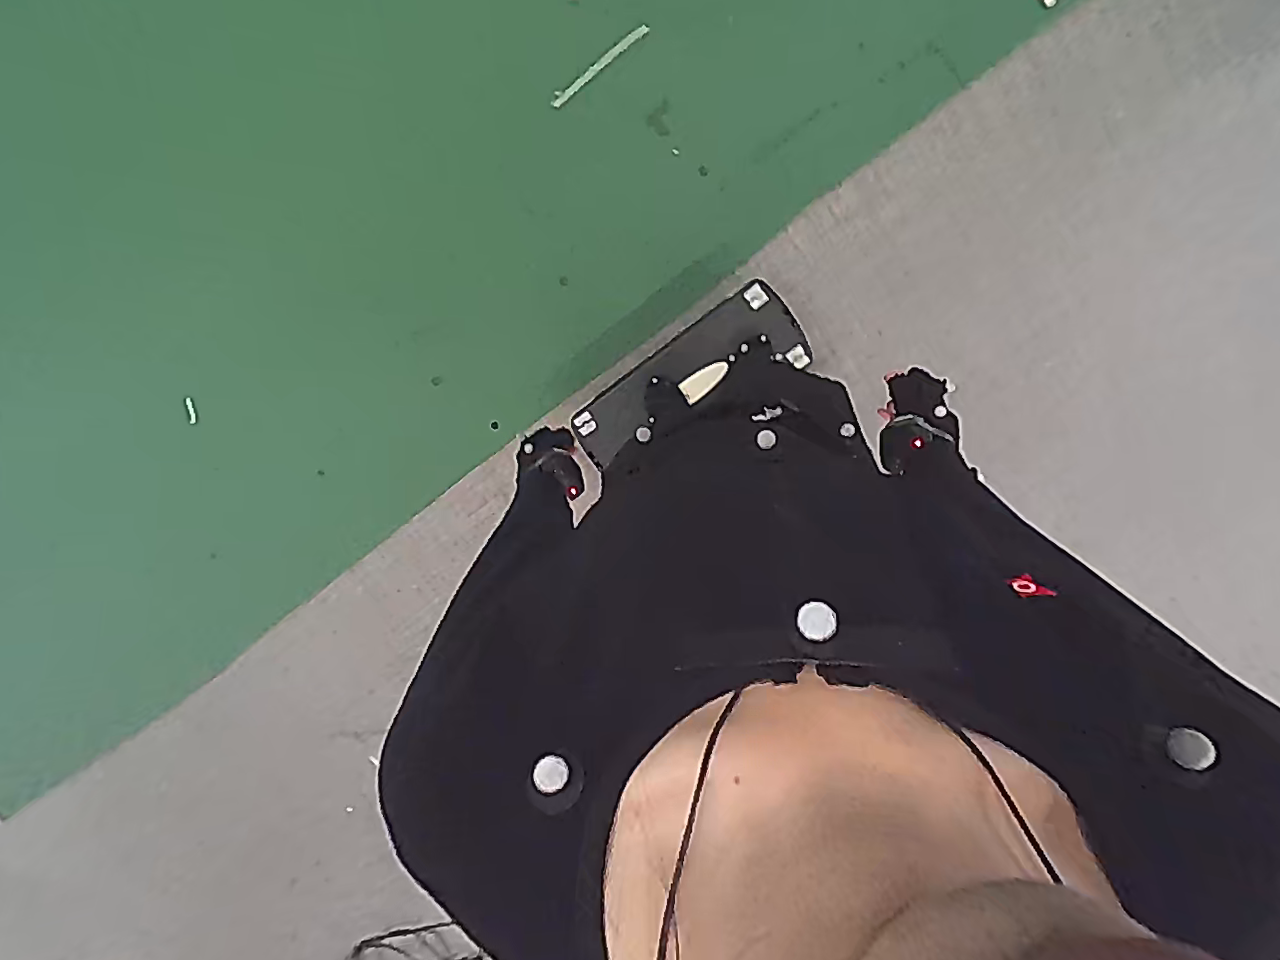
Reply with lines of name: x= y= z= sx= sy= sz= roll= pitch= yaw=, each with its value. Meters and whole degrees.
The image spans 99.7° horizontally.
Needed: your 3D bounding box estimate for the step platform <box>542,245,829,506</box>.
step platform: x=0.098 y=-0.246 z=1.327 sx=0.684 sy=0.204 sz=0.286 roll=-36 pitch=100 yaw=10
